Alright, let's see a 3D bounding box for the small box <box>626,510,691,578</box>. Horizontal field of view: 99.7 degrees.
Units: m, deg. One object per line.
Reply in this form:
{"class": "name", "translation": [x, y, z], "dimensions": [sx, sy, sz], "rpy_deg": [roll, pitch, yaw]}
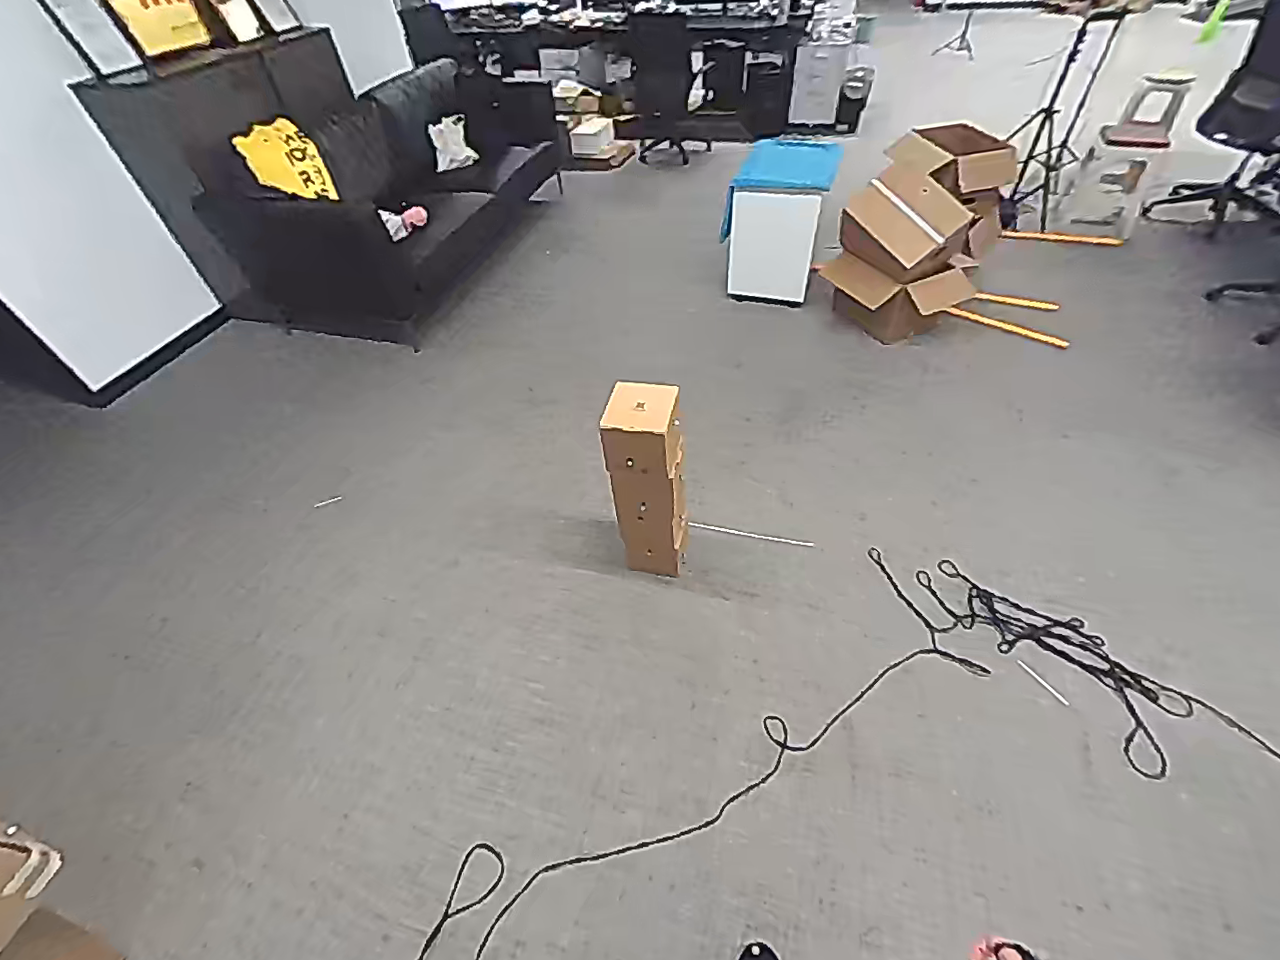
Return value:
{"class": "small box", "translation": [0.067, 0.198, 1.760], "dimensions": [0.179, 0.176, 0.168], "rpy_deg": [9, 49, 13]}

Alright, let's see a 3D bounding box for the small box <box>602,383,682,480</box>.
{"class": "small box", "translation": [0.012, -0.125, 1.394], "dimensions": [0.168, 0.176, 0.179], "rpy_deg": [7, 50, 13]}

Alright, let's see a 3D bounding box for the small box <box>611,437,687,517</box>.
{"class": "small box", "translation": [0.032, -0.015, 1.514], "dimensions": [0.179, 0.176, 0.168], "rpy_deg": [7, 49, 12]}

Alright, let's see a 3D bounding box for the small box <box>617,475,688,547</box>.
{"class": "small box", "translation": [0.044, 0.084, 1.643], "dimensions": [0.179, 0.176, 0.168], "rpy_deg": [9, 50, 14]}
